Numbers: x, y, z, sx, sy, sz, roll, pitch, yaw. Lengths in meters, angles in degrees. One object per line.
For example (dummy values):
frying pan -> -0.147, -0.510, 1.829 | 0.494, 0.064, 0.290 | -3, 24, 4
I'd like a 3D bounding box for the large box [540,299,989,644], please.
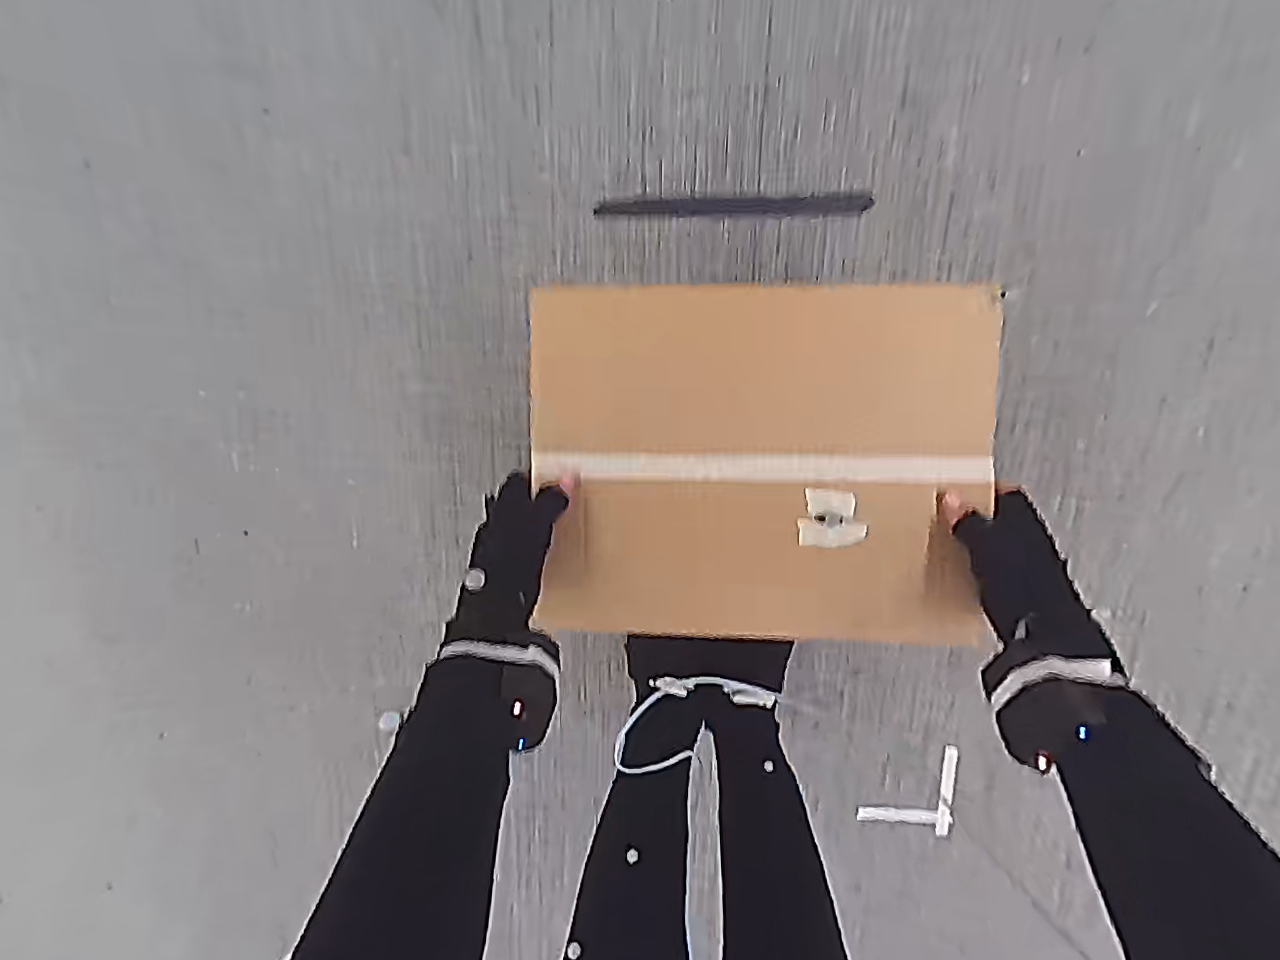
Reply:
large box -> 0.116, -0.012, 0.639 | 0.408, 0.320, 0.320 | 1, 94, 4
